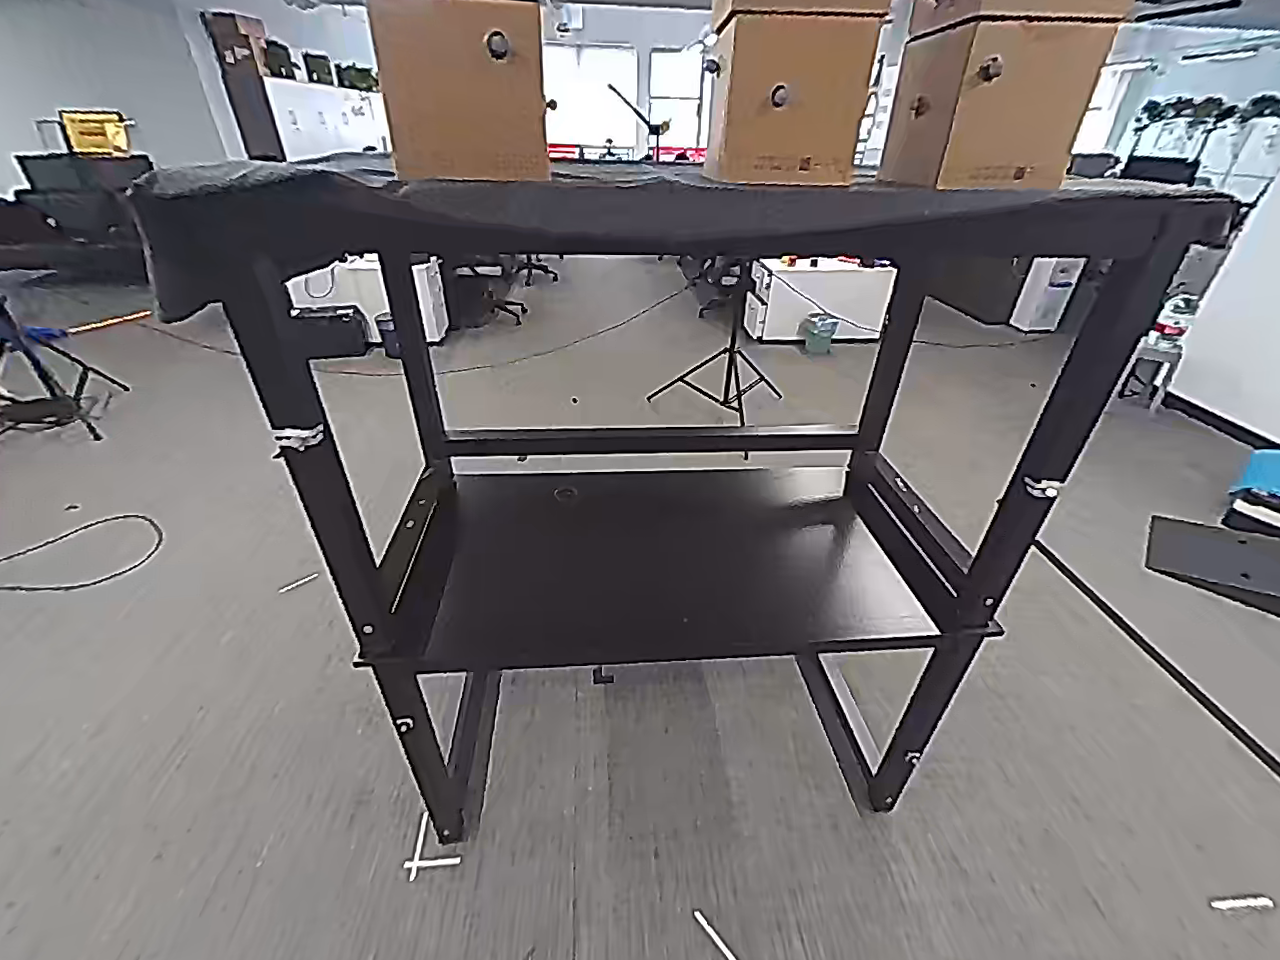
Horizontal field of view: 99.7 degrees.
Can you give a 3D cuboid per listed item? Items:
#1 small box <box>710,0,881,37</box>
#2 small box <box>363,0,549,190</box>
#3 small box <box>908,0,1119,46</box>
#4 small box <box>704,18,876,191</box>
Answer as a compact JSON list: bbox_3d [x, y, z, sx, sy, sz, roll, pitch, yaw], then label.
[{"bbox_3d":[0.179,-0.609,0.606,0.179,0.176,0.168,-1,31,-1],"label":"small box"},{"bbox_3d":[-0.202,-0.453,0.652,0.179,0.176,0.168,-4,31,-8],"label":"small box"},{"bbox_3d":[0.440,-0.609,0.613,0.179,0.176,0.168,-2,31,-3],"label":"small box"},{"bbox_3d":[0.178,-0.475,0.702,0.168,0.176,0.179,0,32,-2],"label":"small box"}]
